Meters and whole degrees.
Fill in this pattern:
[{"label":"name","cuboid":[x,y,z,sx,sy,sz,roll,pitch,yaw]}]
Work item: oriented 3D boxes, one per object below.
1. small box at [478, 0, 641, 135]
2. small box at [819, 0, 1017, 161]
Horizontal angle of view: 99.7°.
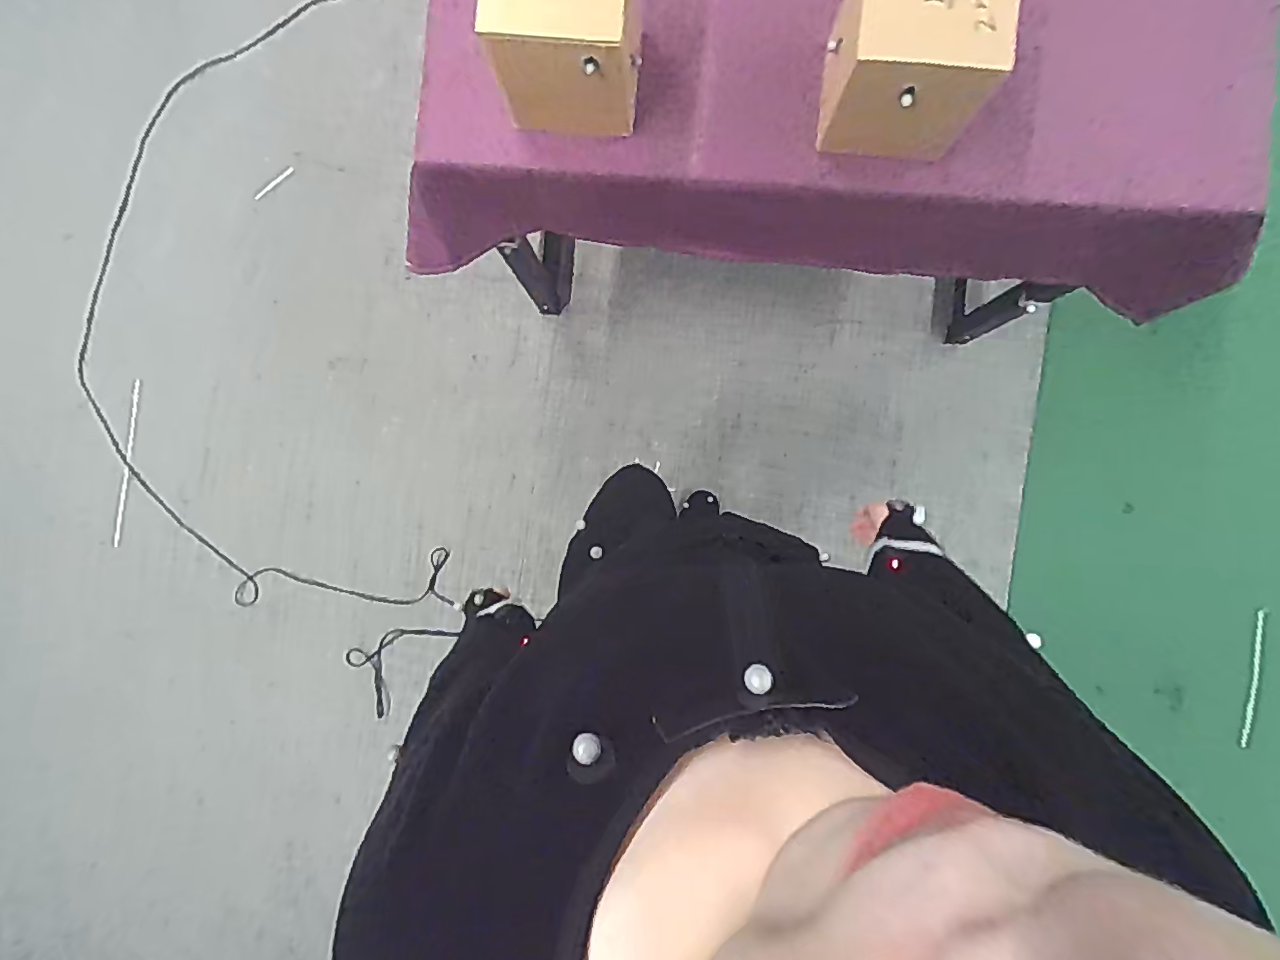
[{"label":"small box","cuboid":[-0.094,-0.590,0.712,0.179,0.176,0.168,5,89,1]},{"label":"small box","cuboid":[0.343,-0.542,0.695,0.179,0.176,0.168,7,89,2]}]
